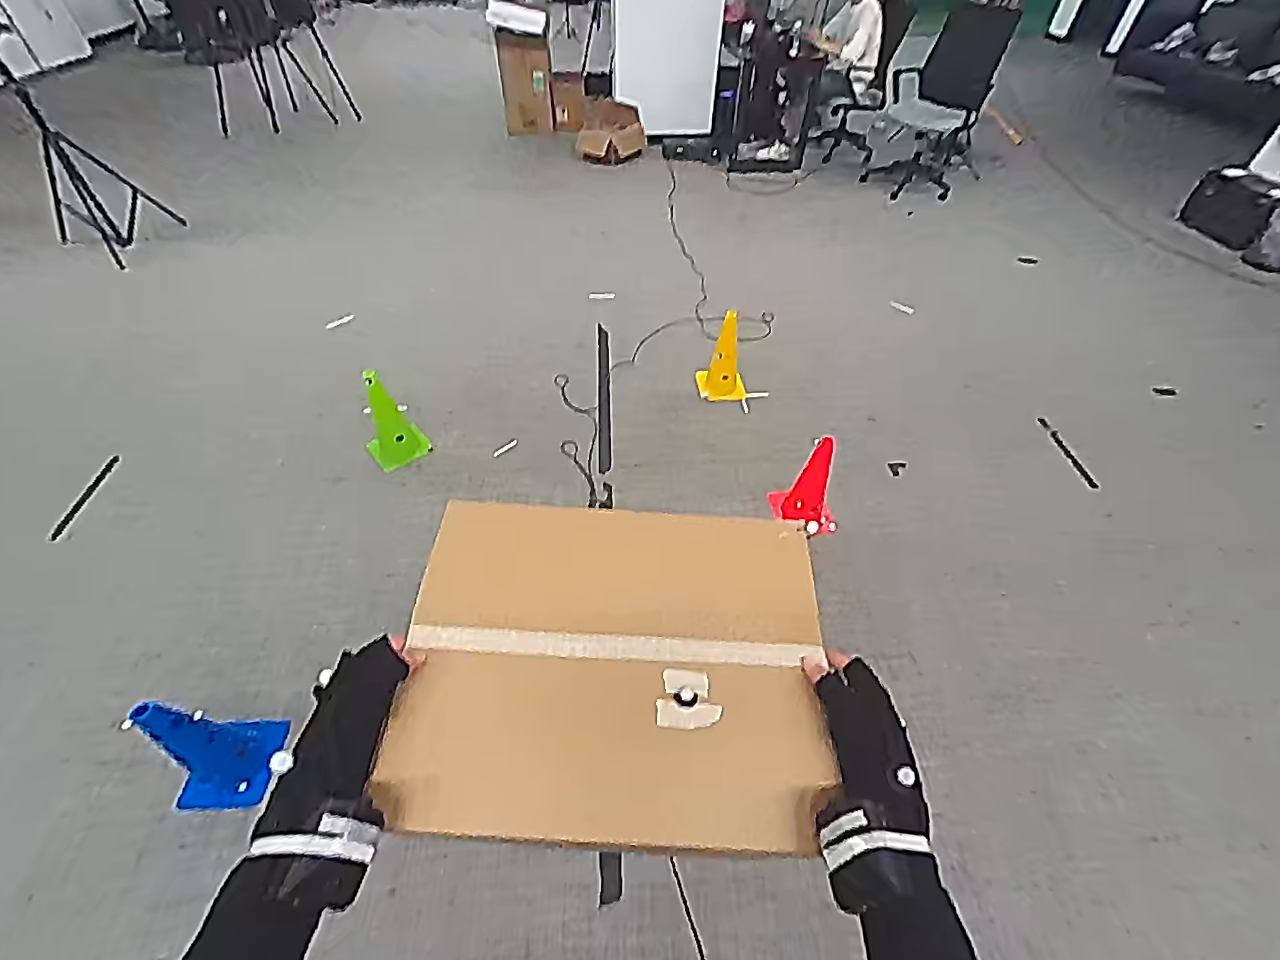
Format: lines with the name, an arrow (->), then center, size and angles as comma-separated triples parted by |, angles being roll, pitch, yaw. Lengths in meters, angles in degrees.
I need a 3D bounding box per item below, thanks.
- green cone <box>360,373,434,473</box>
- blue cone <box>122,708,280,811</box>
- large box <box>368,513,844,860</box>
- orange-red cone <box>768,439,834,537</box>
green cone -> -0.933, -0.239, 1.979 | 0.202, 0.368, 0.200 | -33, 55, -26
blue cone -> -1.015, 0.601, 1.224 | 0.192, 0.380, 0.193 | 0, 47, 0
large box -> -0.030, 0.259, 0.650 | 0.408, 0.320, 0.320 | 4, 54, -1
orange-red cone -> 0.574, 0.006, 1.794 | 0.198, 0.360, 0.199 | -3, 46, -6
